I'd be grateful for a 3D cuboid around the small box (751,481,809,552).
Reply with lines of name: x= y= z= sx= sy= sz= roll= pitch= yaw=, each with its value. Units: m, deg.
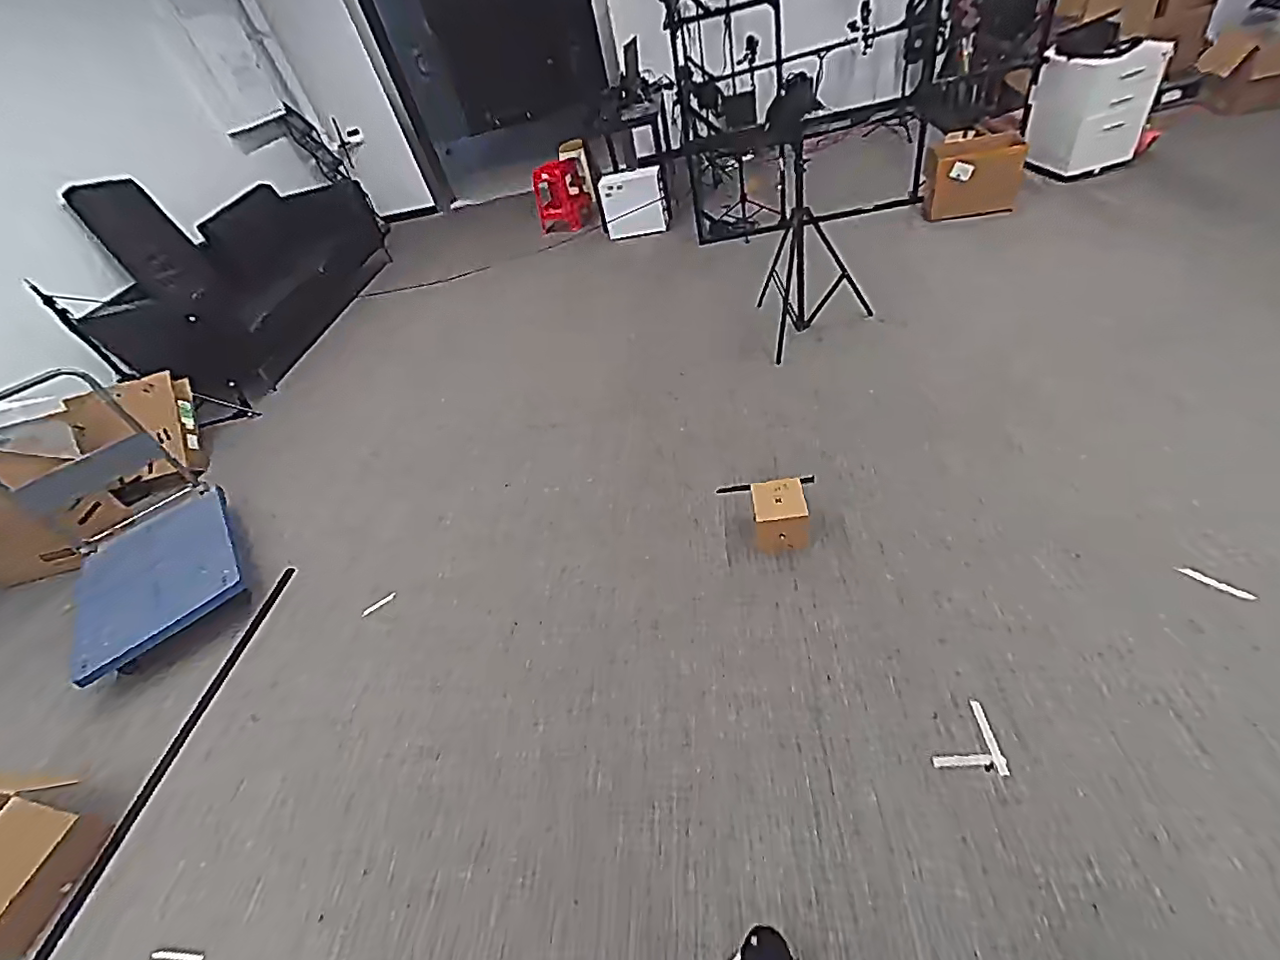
small box: x=0.474 y=0.129 z=1.828 sx=0.168 sy=0.176 sz=0.179 roll=-7 pitch=42 yaw=10
